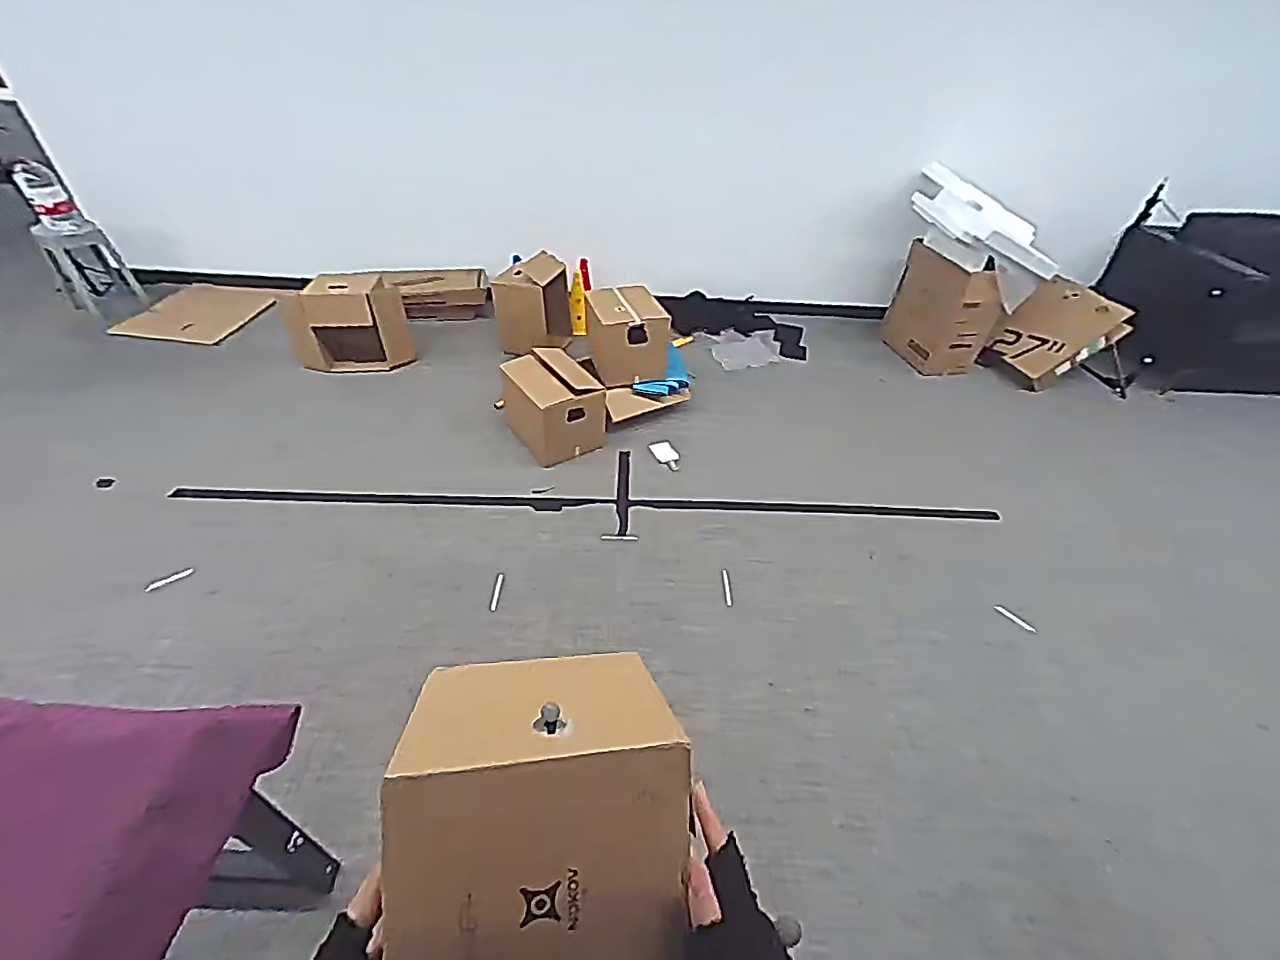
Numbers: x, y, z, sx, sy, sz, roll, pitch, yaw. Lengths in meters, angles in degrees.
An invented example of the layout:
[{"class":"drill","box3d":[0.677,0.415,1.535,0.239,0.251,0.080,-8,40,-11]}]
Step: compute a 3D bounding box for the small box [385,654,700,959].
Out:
[{"class":"small box","box3d":[-0.066,0.233,0.384,0.179,0.168,0.176,-2,0,-11]}]
